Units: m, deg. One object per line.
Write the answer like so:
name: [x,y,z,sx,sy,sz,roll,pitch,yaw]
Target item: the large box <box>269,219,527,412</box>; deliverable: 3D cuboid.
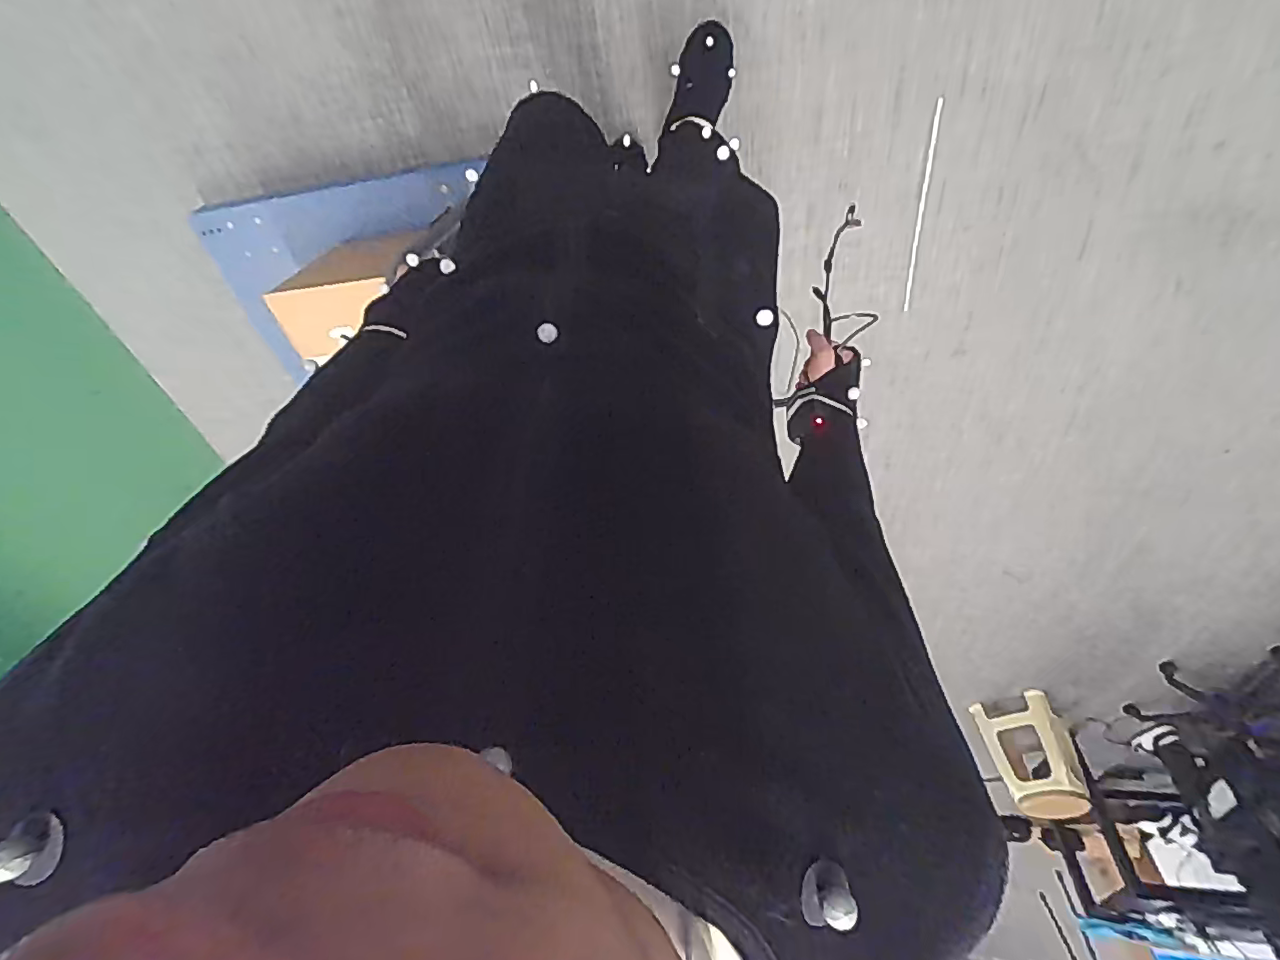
large box: [-0.535,-0.388,1.284,0.408,0.320,0.320,-2,131,11]
